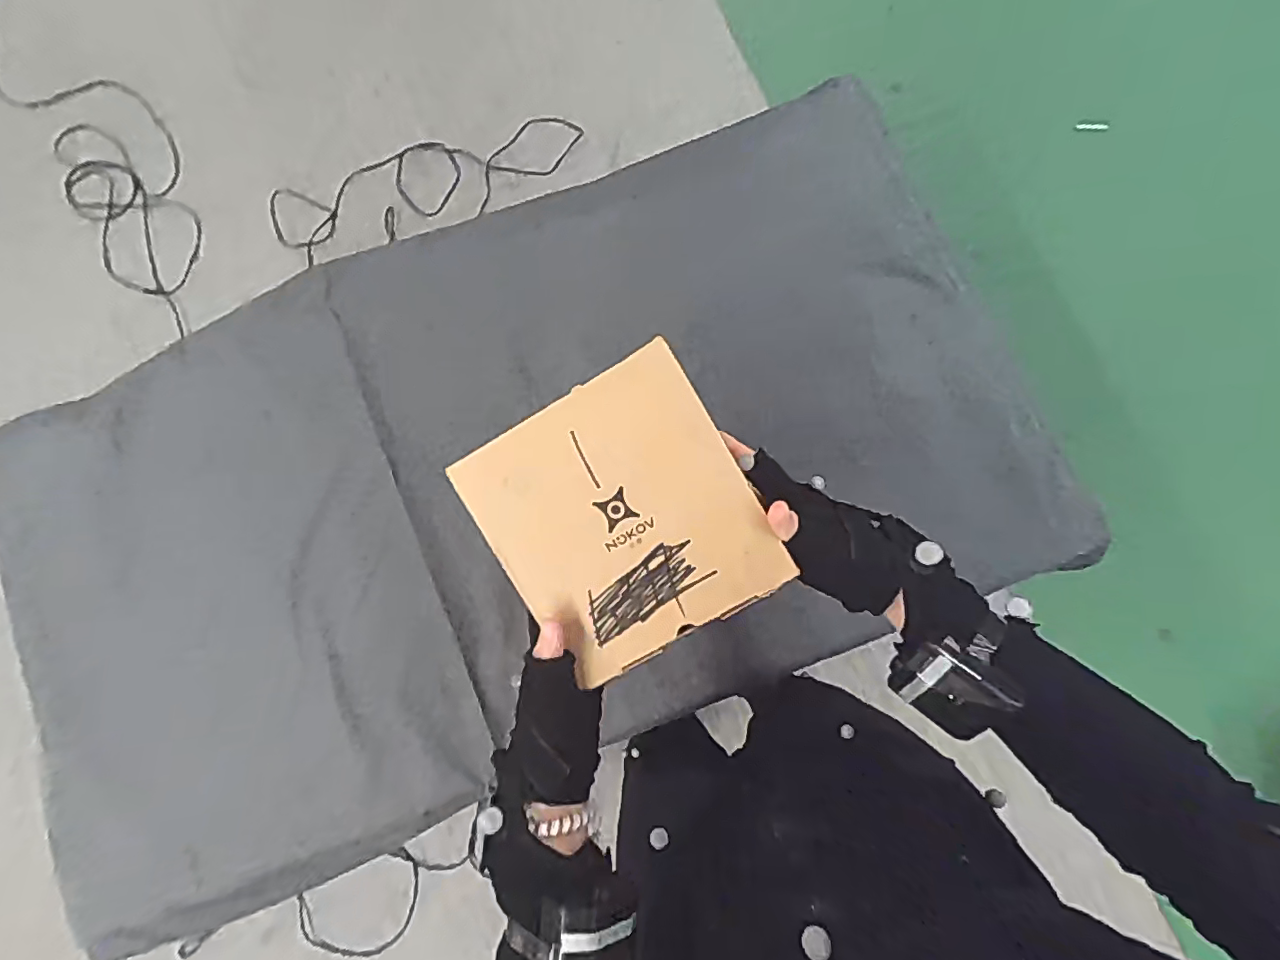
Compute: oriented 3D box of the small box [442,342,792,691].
[{"bbox_3d":[-0.010,0.018,0.420,0.168,0.176,0.179,-31,93,6],"label":"small box"}]
